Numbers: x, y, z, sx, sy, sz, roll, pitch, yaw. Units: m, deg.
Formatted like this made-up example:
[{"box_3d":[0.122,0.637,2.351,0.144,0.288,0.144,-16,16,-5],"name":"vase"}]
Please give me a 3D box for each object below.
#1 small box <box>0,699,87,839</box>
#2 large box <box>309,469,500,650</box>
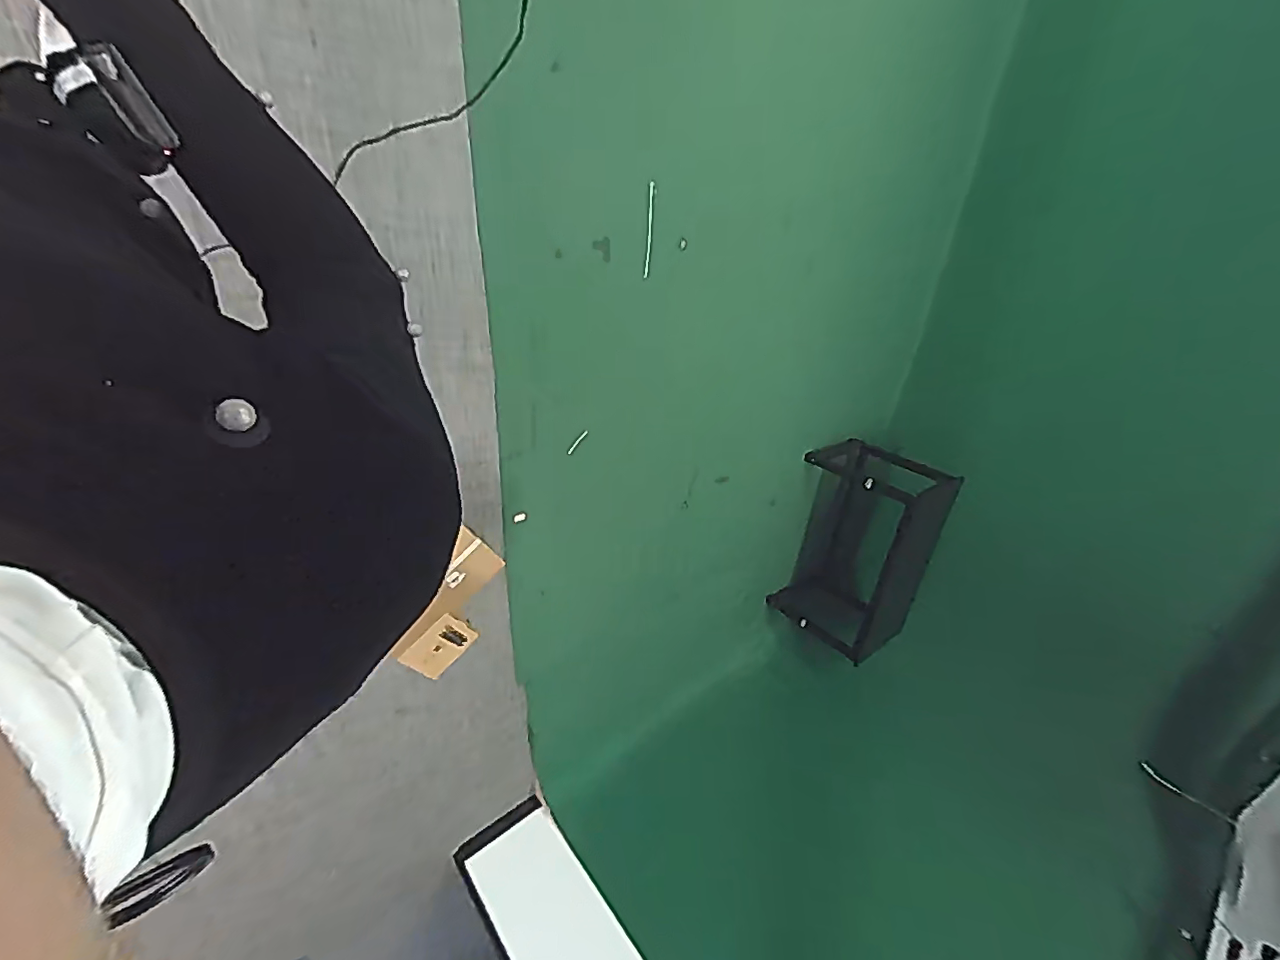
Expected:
[{"box_3d":[-1.218,0.559,1.056,0.168,0.176,0.179,-14,122,-39],"name":"small box"},{"box_3d":[-0.738,0.244,1.709,0.408,0.320,0.320,-47,139,-14],"name":"large box"}]
